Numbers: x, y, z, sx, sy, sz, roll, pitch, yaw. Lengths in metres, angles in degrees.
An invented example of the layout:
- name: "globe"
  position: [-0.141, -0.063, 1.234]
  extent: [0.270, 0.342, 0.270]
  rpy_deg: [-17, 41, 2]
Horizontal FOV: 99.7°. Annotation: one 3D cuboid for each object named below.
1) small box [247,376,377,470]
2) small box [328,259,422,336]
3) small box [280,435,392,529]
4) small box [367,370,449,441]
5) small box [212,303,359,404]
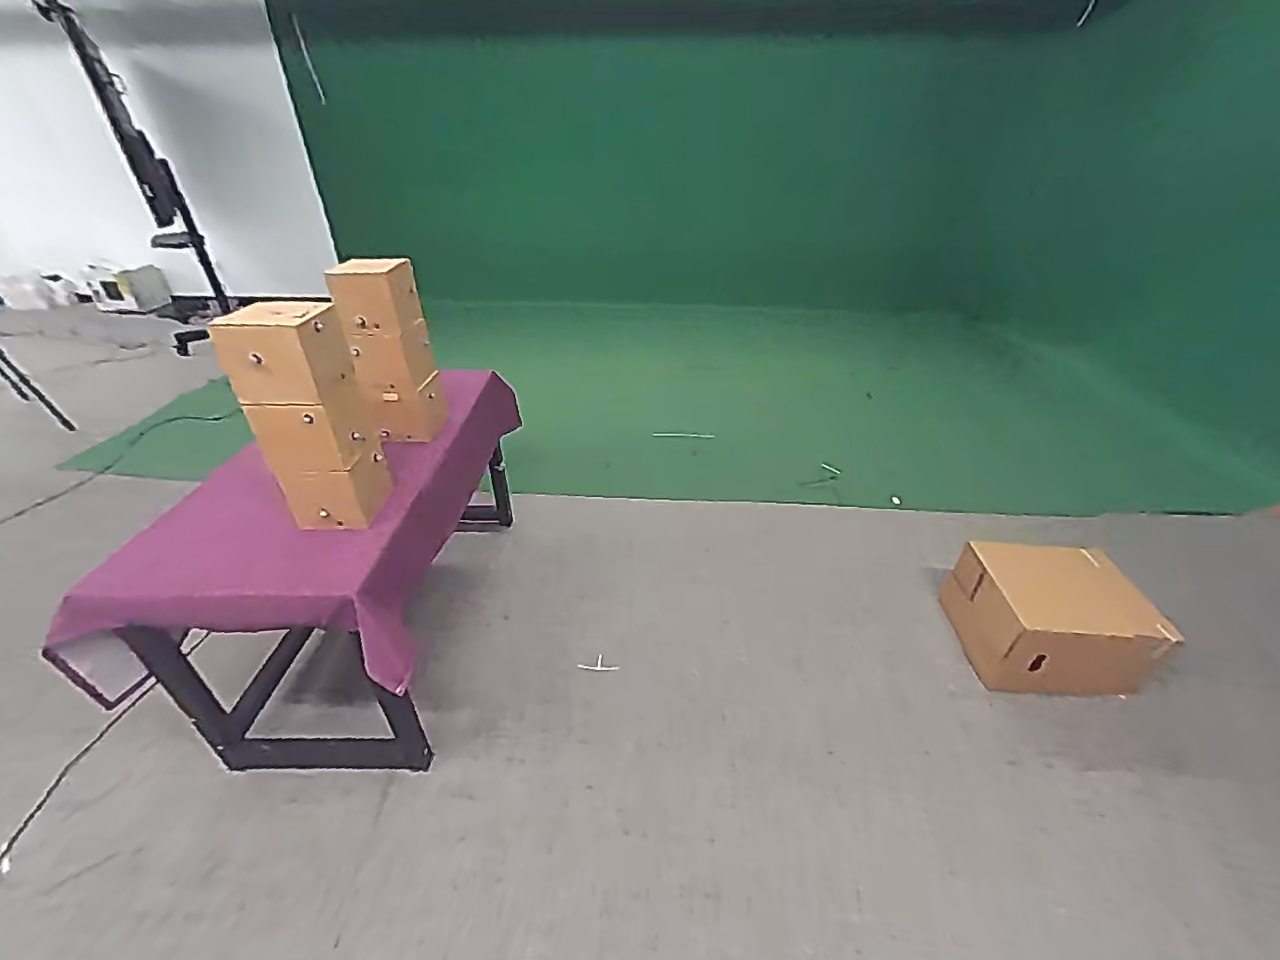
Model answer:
- name: "small box"
  position: [-0.739, -0.132, 1.239]
  extent: [0.179, 0.176, 0.168]
  rpy_deg: [1, 33, 0]
- name: "small box"
  position: [-0.729, -0.512, 1.513]
  extent: [0.168, 0.176, 0.179]
  rpy_deg: [0, 34, 1]
- name: "small box"
  position: [-0.733, 0.002, 1.331]
  extent: [0.168, 0.176, 0.179]
  rpy_deg: [0, 33, 1]
- name: "small box"
  position: [-0.712, -0.232, 1.684]
  extent: [0.168, 0.176, 0.179]
  rpy_deg: [2, 33, 2]
- name: "small box"
  position: [-0.738, -0.270, 1.148]
  extent: [0.179, 0.176, 0.168]
  rpy_deg: [0, 34, 1]
